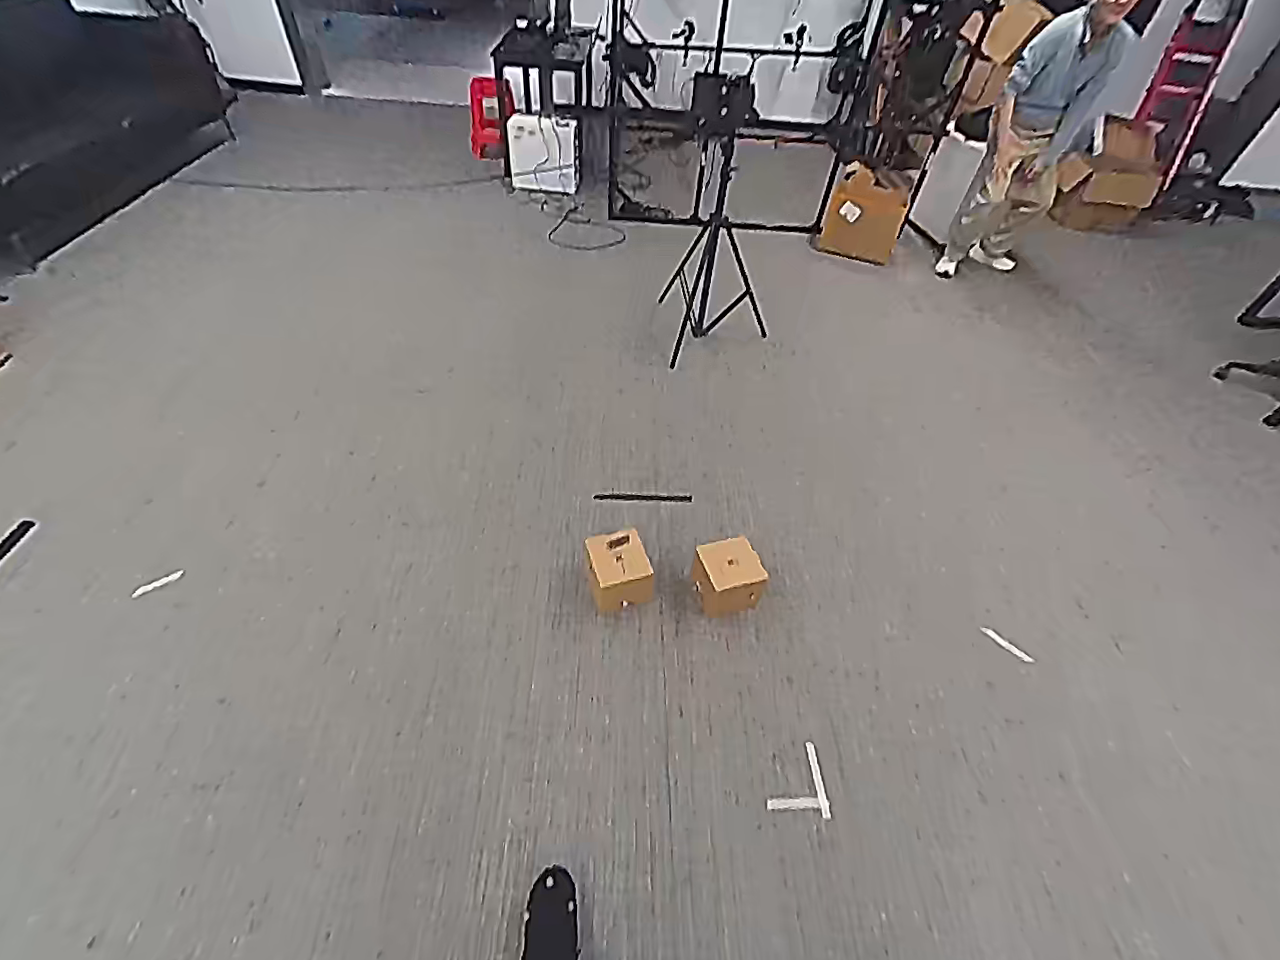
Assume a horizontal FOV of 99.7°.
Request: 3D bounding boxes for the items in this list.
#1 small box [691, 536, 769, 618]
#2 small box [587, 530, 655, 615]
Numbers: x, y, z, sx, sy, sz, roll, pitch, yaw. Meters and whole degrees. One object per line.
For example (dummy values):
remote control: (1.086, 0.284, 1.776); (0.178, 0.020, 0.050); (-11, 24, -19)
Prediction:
small box: (0.274, 0.305, 1.686); (0.179, 0.176, 0.168); (-12, 49, -15)
small box: (-0.066, 0.287, 1.672); (0.168, 0.176, 0.179); (-13, 50, -16)
